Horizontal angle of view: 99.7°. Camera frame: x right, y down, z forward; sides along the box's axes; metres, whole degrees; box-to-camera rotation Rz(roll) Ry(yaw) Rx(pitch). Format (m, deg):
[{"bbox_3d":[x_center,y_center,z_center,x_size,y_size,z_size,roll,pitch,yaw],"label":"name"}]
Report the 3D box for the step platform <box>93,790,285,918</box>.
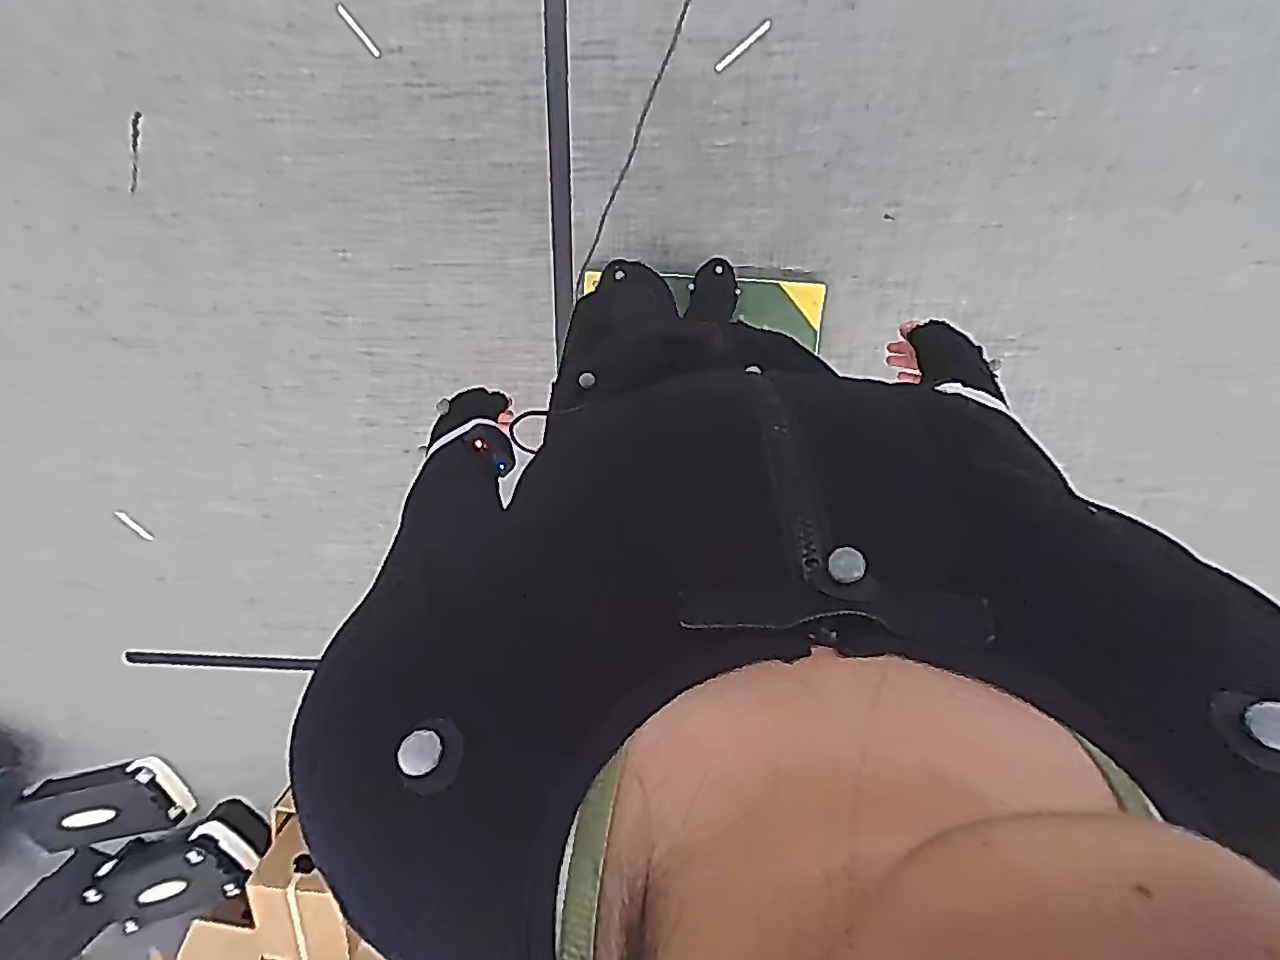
[{"bbox_3d":[-1.805,1.503,2.166,0.684,0.204,0.286,-26,108,11],"label":"step platform"}]
